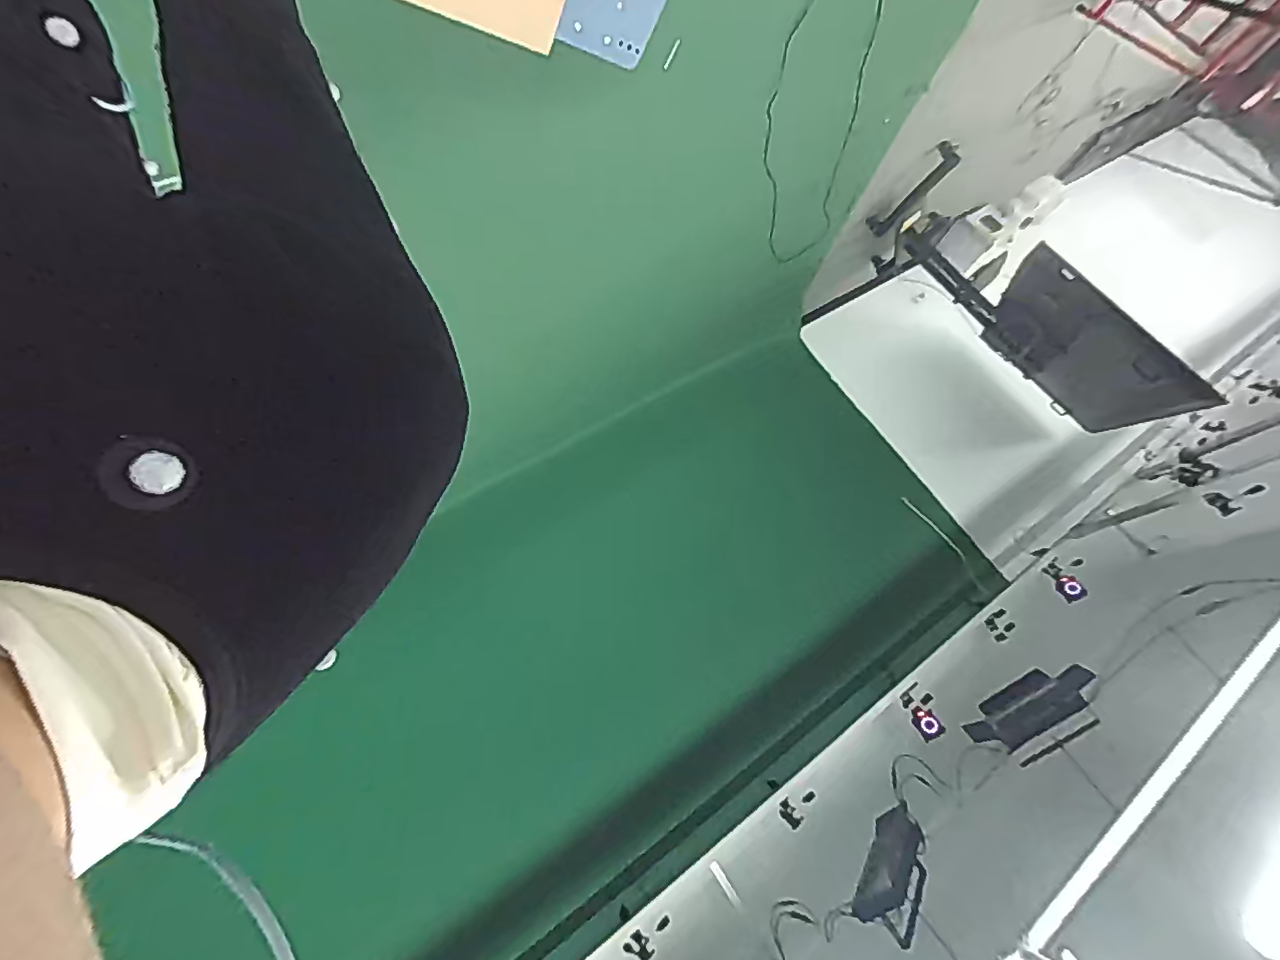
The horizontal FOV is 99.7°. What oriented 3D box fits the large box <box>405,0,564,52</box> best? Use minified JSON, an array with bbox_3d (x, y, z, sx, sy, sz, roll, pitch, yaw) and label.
[{"bbox_3d":[-0.324,-0.976,0.842,0.408,0.320,0.320,-7,151,-35],"label":"large box"}]
